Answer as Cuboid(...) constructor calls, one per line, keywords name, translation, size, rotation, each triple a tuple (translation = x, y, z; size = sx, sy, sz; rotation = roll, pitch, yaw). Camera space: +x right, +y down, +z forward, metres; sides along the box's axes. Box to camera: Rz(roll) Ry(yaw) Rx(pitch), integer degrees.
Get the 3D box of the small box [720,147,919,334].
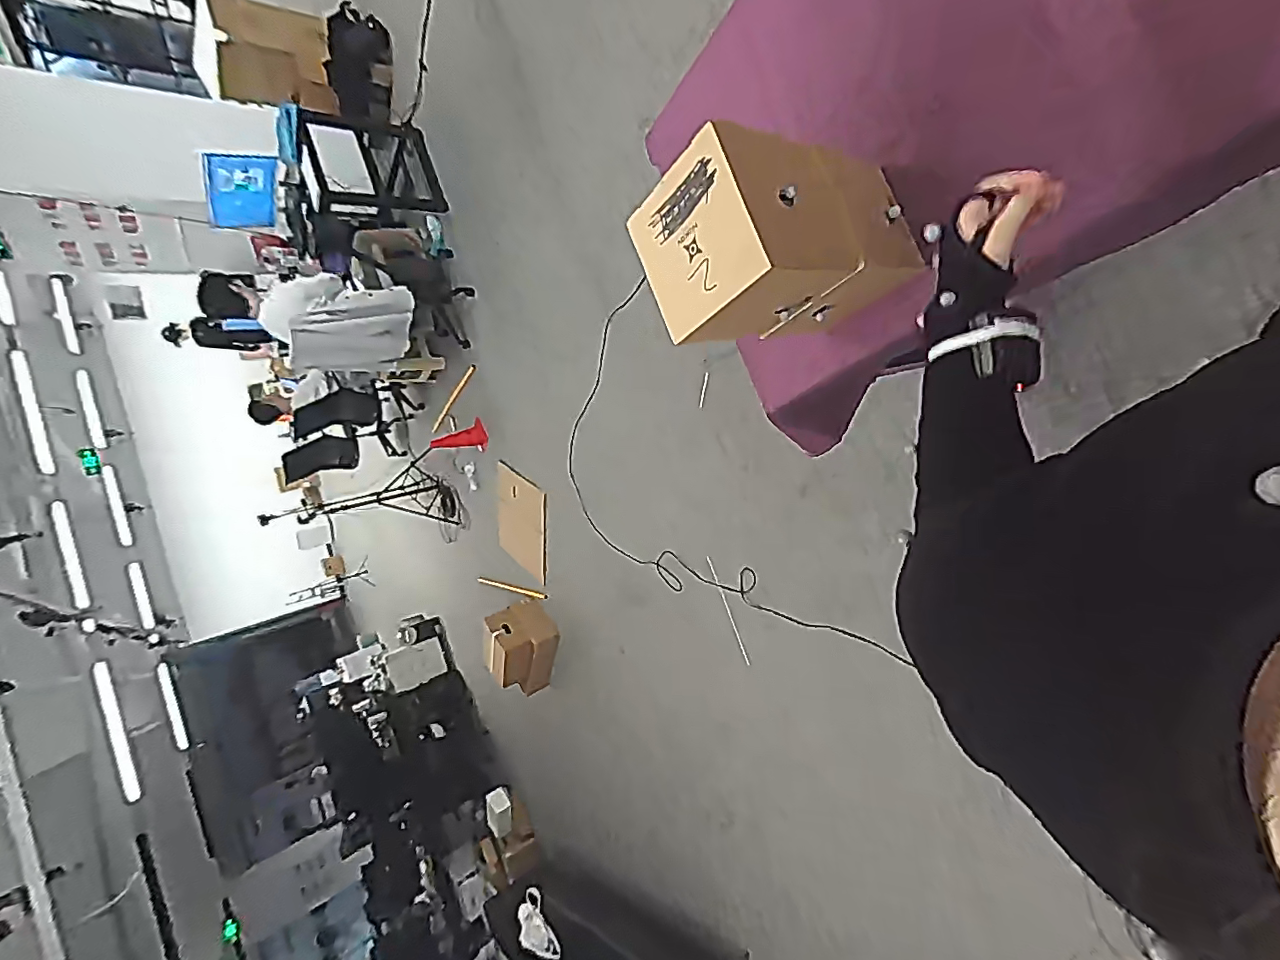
Cuboid(name="small box", translation=(0.251, -0.323, 0.765), size=(0.179, 0.176, 0.168), rotation=(-29, 80, 52))
